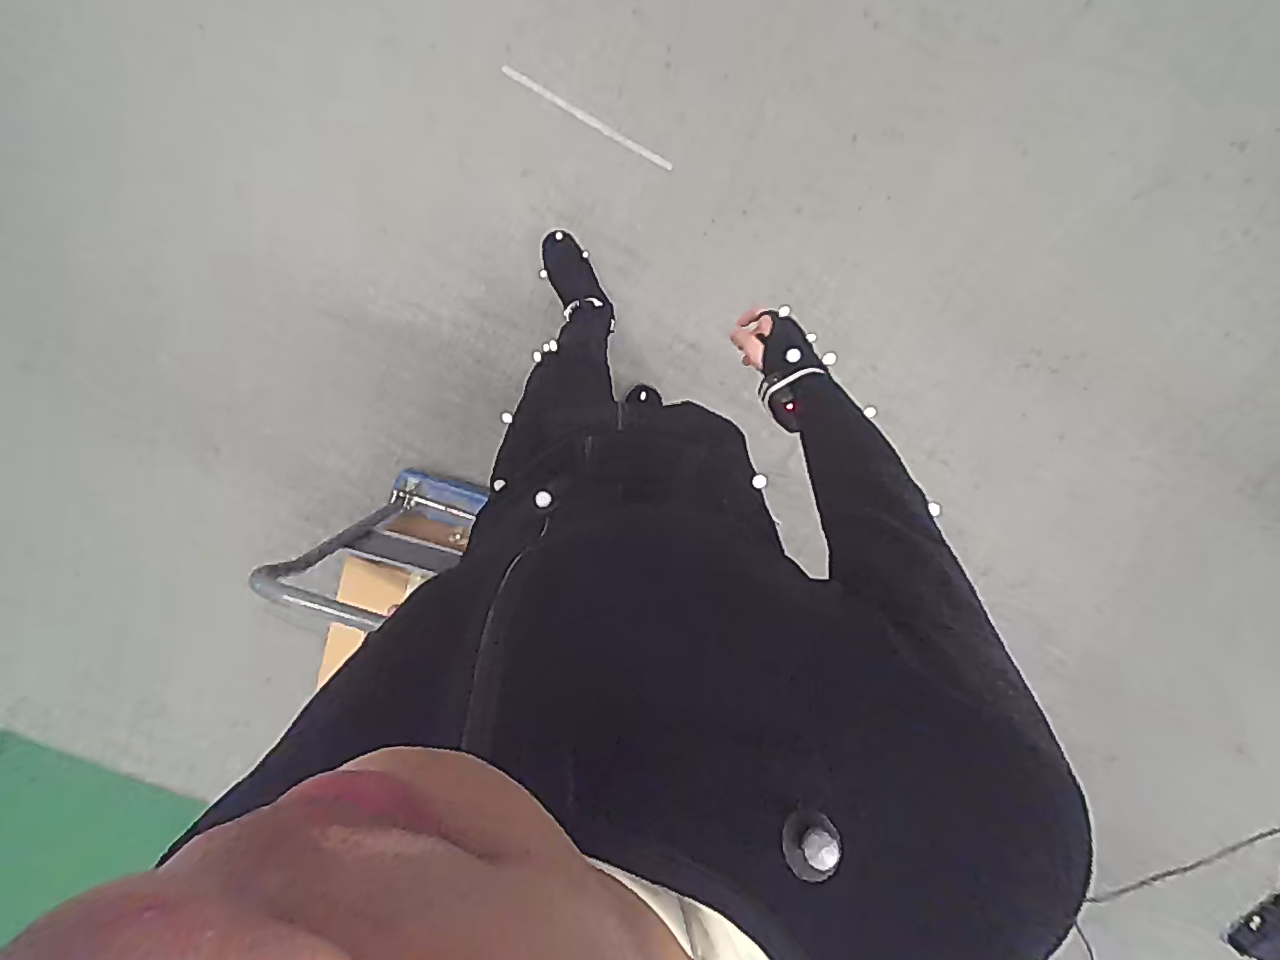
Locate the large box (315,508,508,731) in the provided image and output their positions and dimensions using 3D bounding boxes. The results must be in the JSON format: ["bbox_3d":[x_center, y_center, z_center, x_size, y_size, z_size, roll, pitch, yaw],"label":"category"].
[{"bbox_3d":[-0.553,0.333,1.361,0.320,0.320,0.408,18,104,-7],"label":"large box"}]
